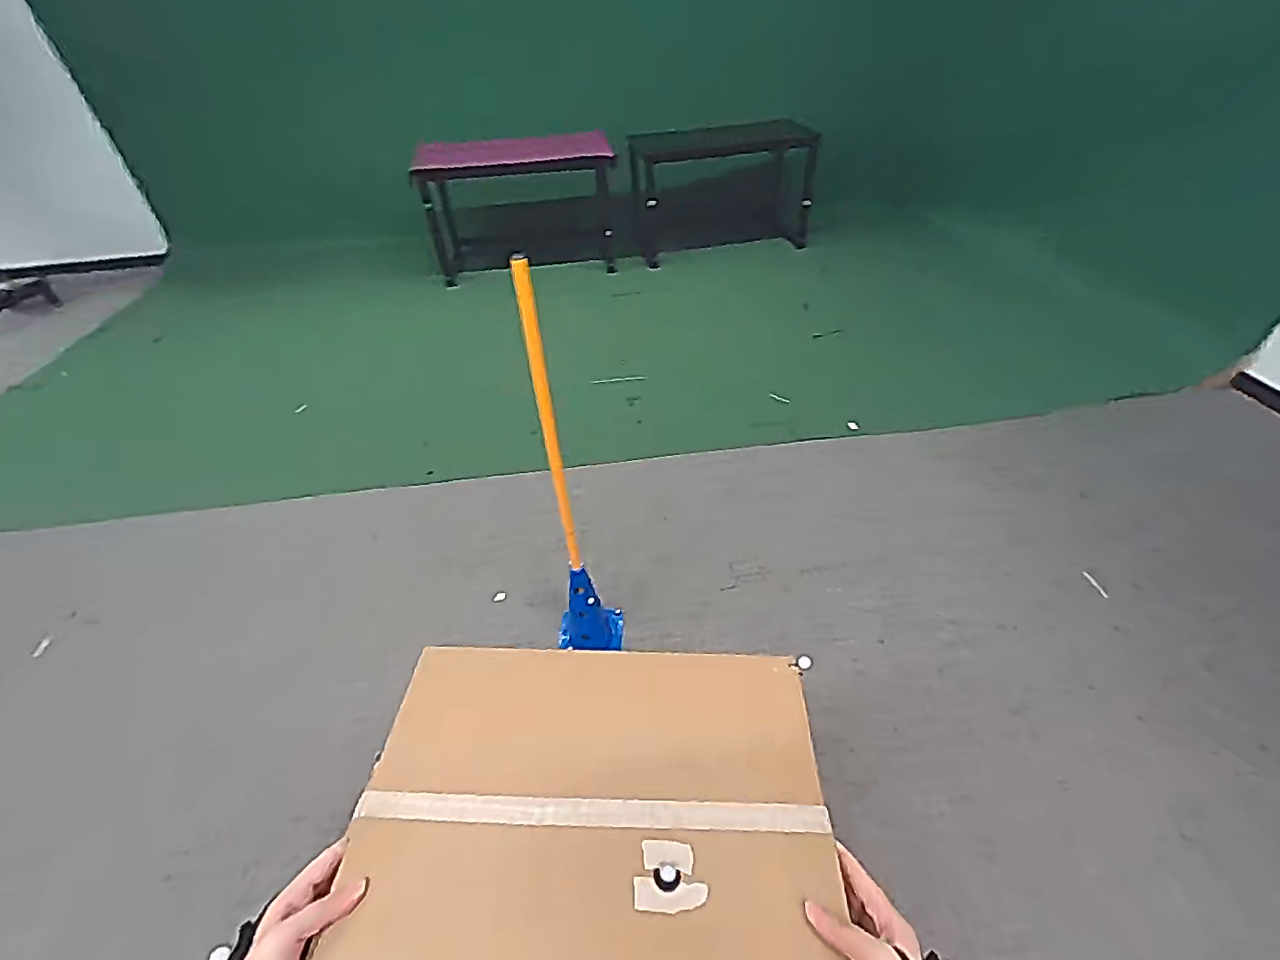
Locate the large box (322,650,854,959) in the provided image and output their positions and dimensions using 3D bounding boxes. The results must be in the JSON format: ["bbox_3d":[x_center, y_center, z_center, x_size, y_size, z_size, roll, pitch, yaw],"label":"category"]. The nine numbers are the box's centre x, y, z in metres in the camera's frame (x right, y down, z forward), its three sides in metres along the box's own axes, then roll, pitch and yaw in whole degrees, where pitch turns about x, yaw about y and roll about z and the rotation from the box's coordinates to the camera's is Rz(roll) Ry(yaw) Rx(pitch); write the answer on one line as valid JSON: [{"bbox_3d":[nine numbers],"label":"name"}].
[{"bbox_3d":[-0.036,0.405,0.575,0.408,0.320,0.320,2,41,2],"label":"large box"}]

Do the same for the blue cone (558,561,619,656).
[{"bbox_3d":[-0.169,0.385,1.606,0.193,0.380,0.192,0,41,3],"label":"blue cone"}]
